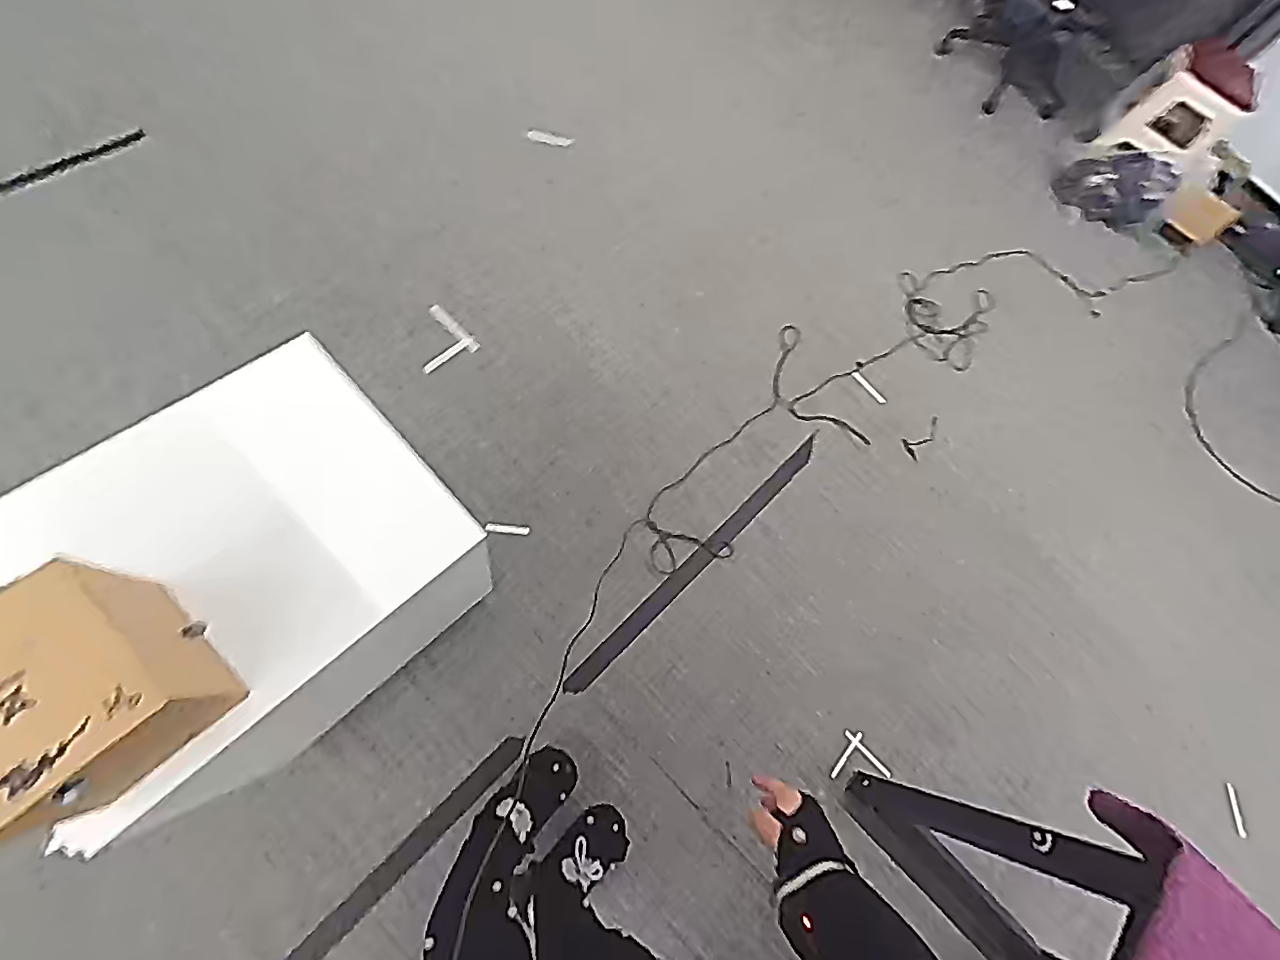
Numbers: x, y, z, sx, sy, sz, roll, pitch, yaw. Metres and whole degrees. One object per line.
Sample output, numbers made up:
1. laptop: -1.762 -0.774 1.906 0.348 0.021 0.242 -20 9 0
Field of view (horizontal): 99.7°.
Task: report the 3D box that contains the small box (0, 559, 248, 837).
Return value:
1. small box: -0.540 0.208 0.526 0.179 0.176 0.168 46 67 6
